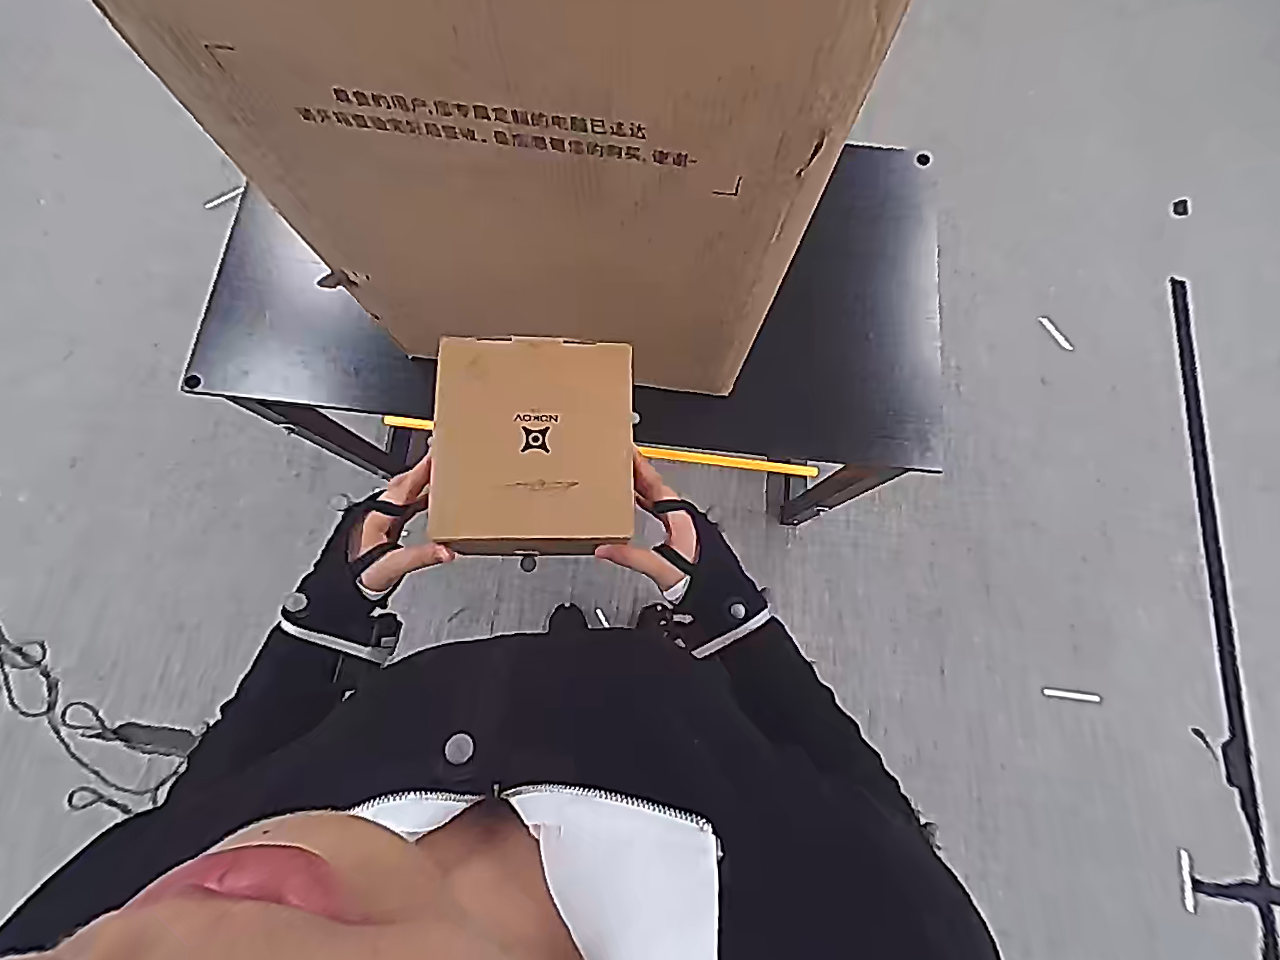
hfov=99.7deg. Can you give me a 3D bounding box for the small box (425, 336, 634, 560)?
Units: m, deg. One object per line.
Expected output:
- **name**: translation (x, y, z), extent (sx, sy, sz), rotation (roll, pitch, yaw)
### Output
- **small box**: translation (-0.097, -0.018, 0.522), extent (0.168, 0.176, 0.179), rotation (0, 78, -8)
